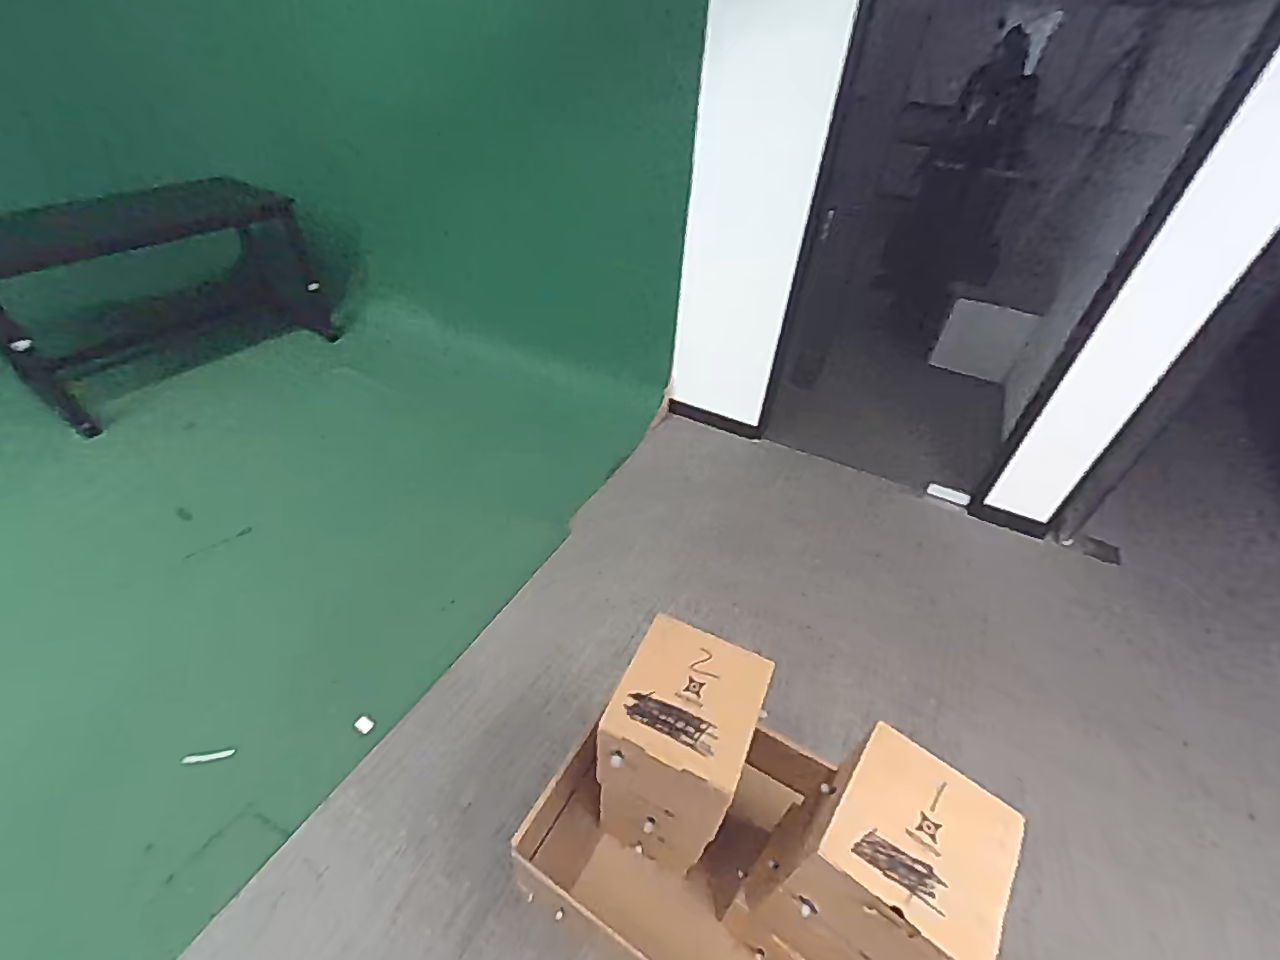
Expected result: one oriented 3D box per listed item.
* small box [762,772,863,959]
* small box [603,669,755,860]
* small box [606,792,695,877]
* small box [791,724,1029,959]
[{"bbox_3d":[0.277,0.542,0.718,0.168,0.176,0.179,28,48,24],"label":"small box"},{"bbox_3d":[0.058,0.432,0.821,0.168,0.176,0.179,22,46,18],"label":"small box"},{"bbox_3d":[0.050,0.542,0.944,0.168,0.176,0.179,21,45,19],"label":"small box"},{"bbox_3d":[0.287,0.424,0.604,0.168,0.176,0.179,31,48,26],"label":"small box"}]
